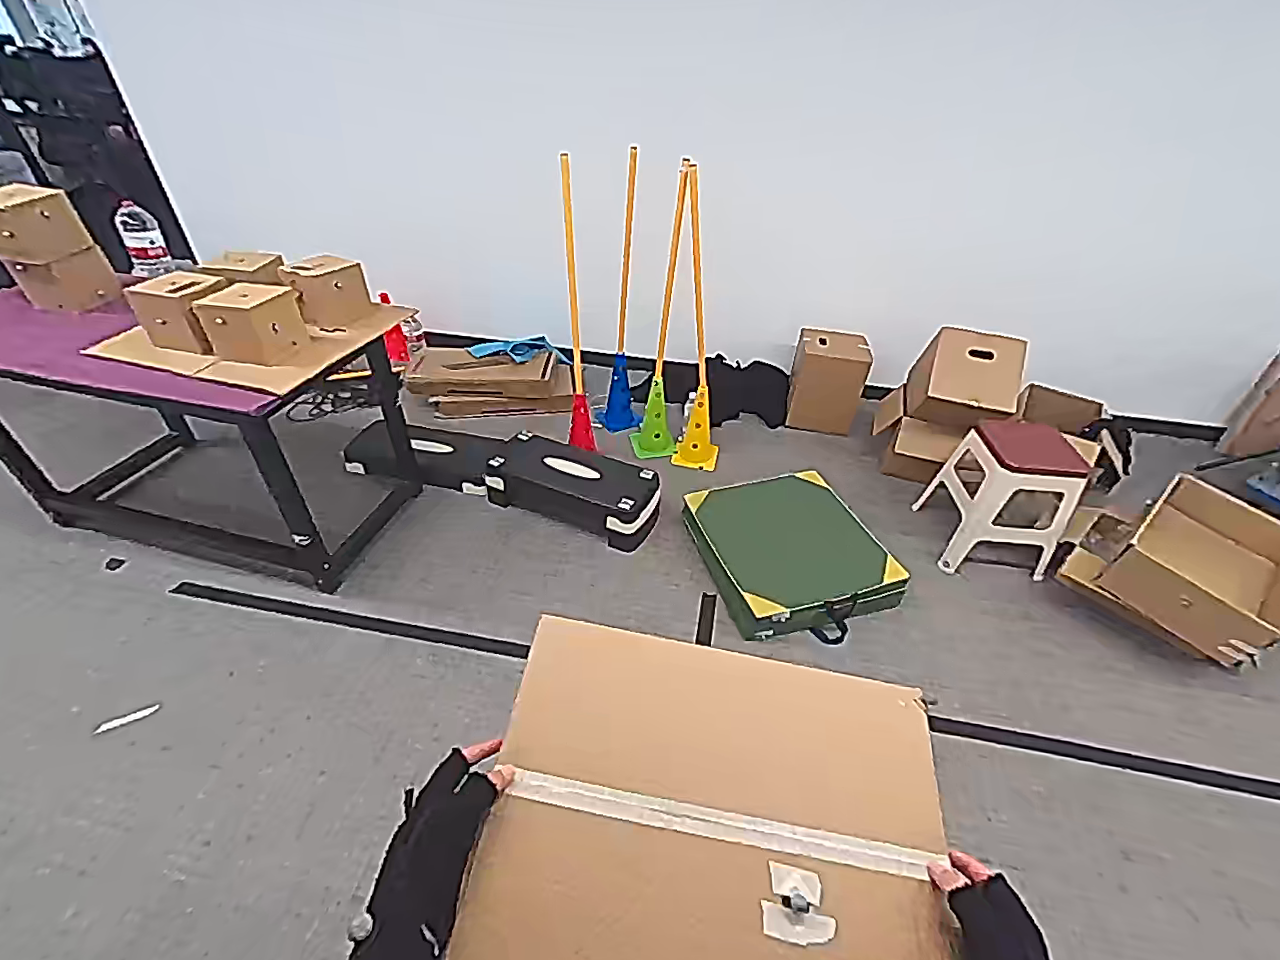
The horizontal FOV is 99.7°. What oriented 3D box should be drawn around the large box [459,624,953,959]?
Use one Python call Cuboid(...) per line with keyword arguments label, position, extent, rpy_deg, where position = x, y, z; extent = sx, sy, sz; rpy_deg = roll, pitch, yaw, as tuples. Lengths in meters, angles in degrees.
Cuboid(label="large box", position=(0.059, 0.400, 0.607), extent=(0.408, 0.320, 0.320), rpy_deg=(11, 52, 2))
